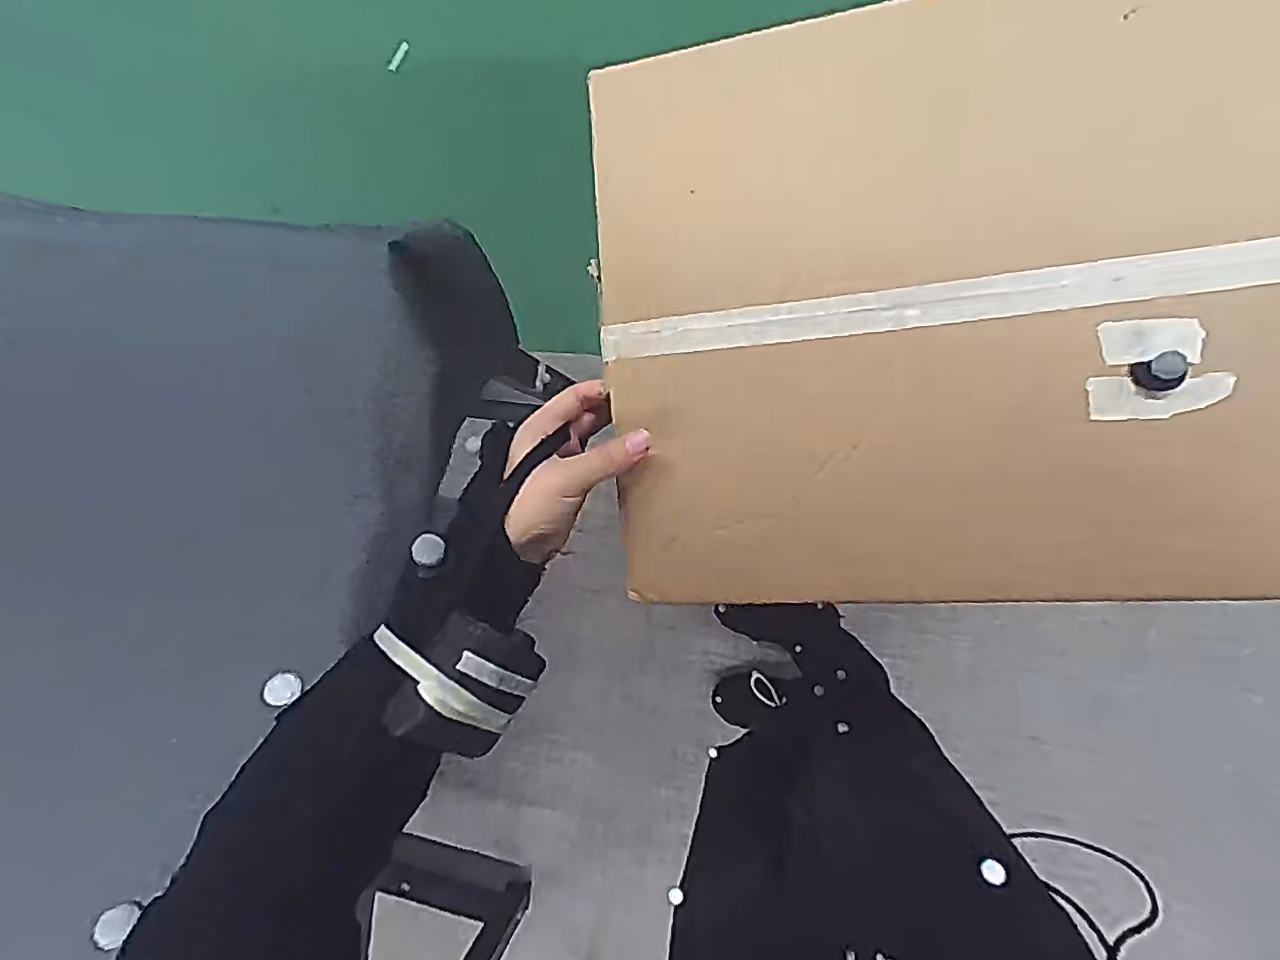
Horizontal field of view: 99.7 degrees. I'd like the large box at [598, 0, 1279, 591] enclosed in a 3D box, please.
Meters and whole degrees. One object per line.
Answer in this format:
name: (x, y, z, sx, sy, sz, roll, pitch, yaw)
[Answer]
large box: (0.208, -0.103, 0.441, 0.408, 0.320, 0.320, -4, 91, 12)
